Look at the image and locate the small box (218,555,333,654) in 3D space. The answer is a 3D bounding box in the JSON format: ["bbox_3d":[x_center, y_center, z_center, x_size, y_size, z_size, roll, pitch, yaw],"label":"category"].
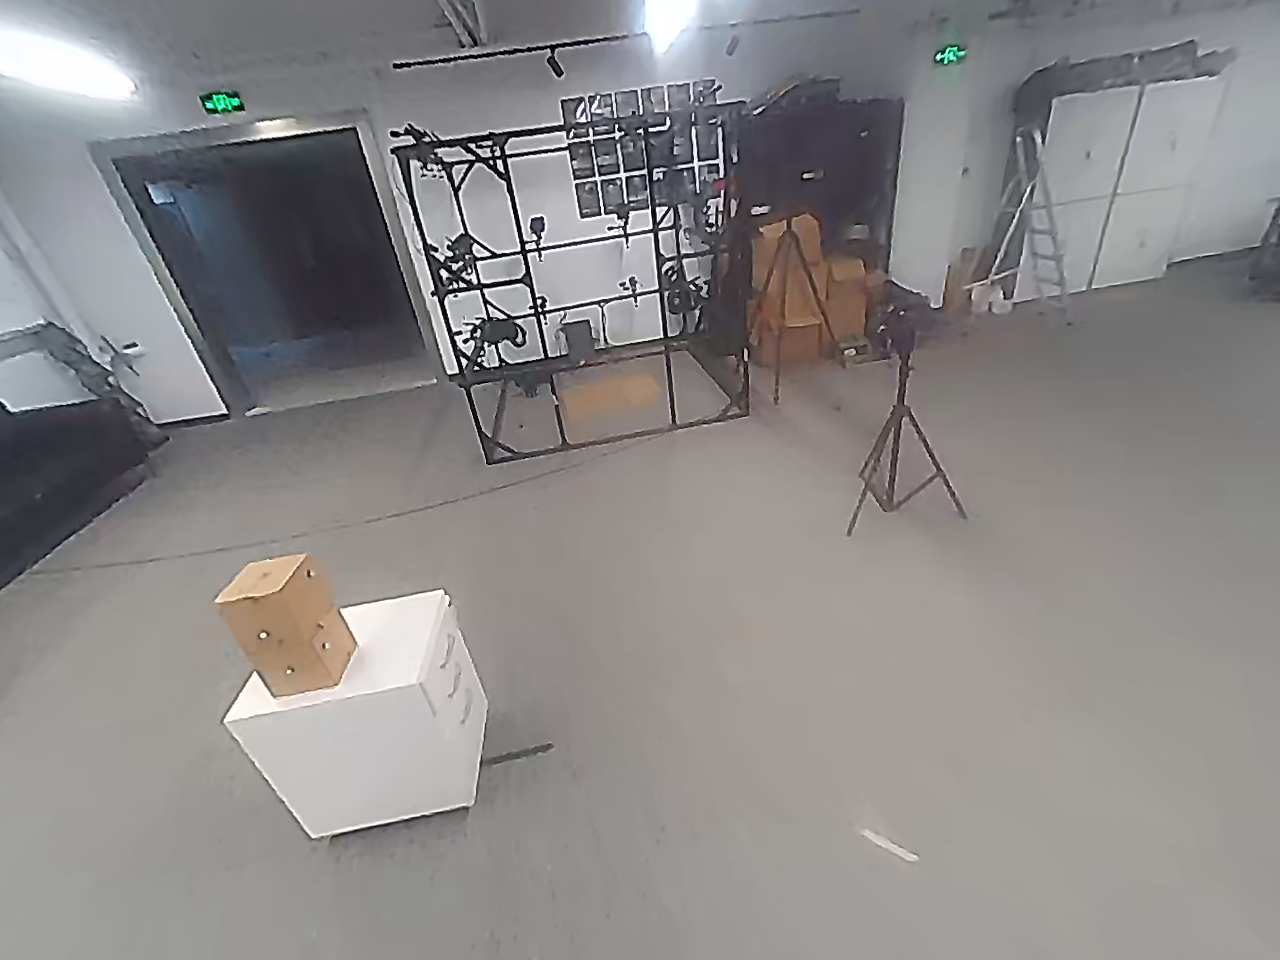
[{"bbox_3d":[-0.945,0.326,1.426,0.168,0.176,0.179,-10,28,-1],"label":"small box"}]
